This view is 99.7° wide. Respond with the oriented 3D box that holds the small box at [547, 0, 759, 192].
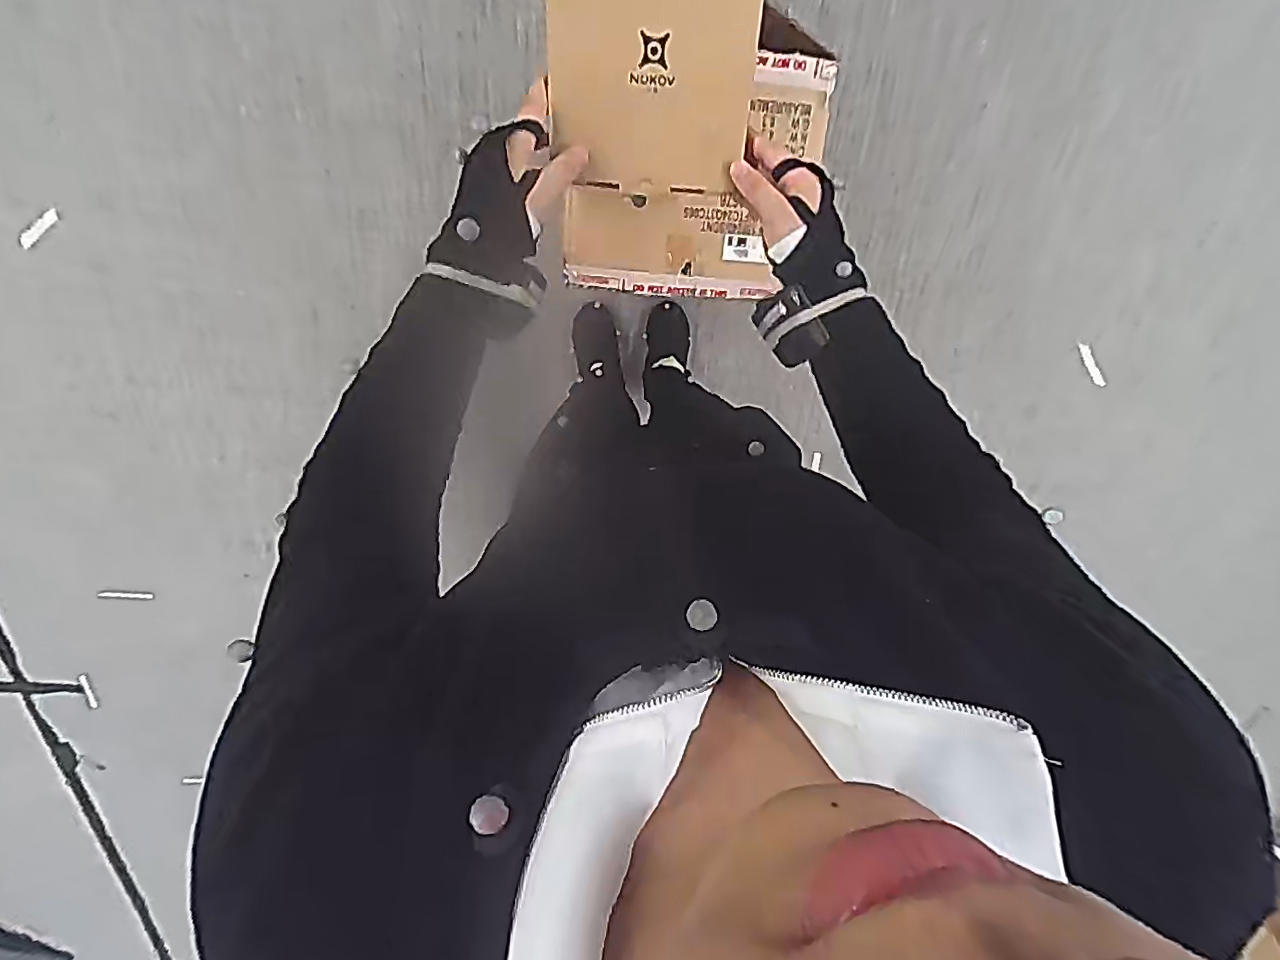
[{"bbox_3d":[0.007,-0.374,0.501,0.168,0.176,0.179,2,119,-3],"label":"small box"}]
